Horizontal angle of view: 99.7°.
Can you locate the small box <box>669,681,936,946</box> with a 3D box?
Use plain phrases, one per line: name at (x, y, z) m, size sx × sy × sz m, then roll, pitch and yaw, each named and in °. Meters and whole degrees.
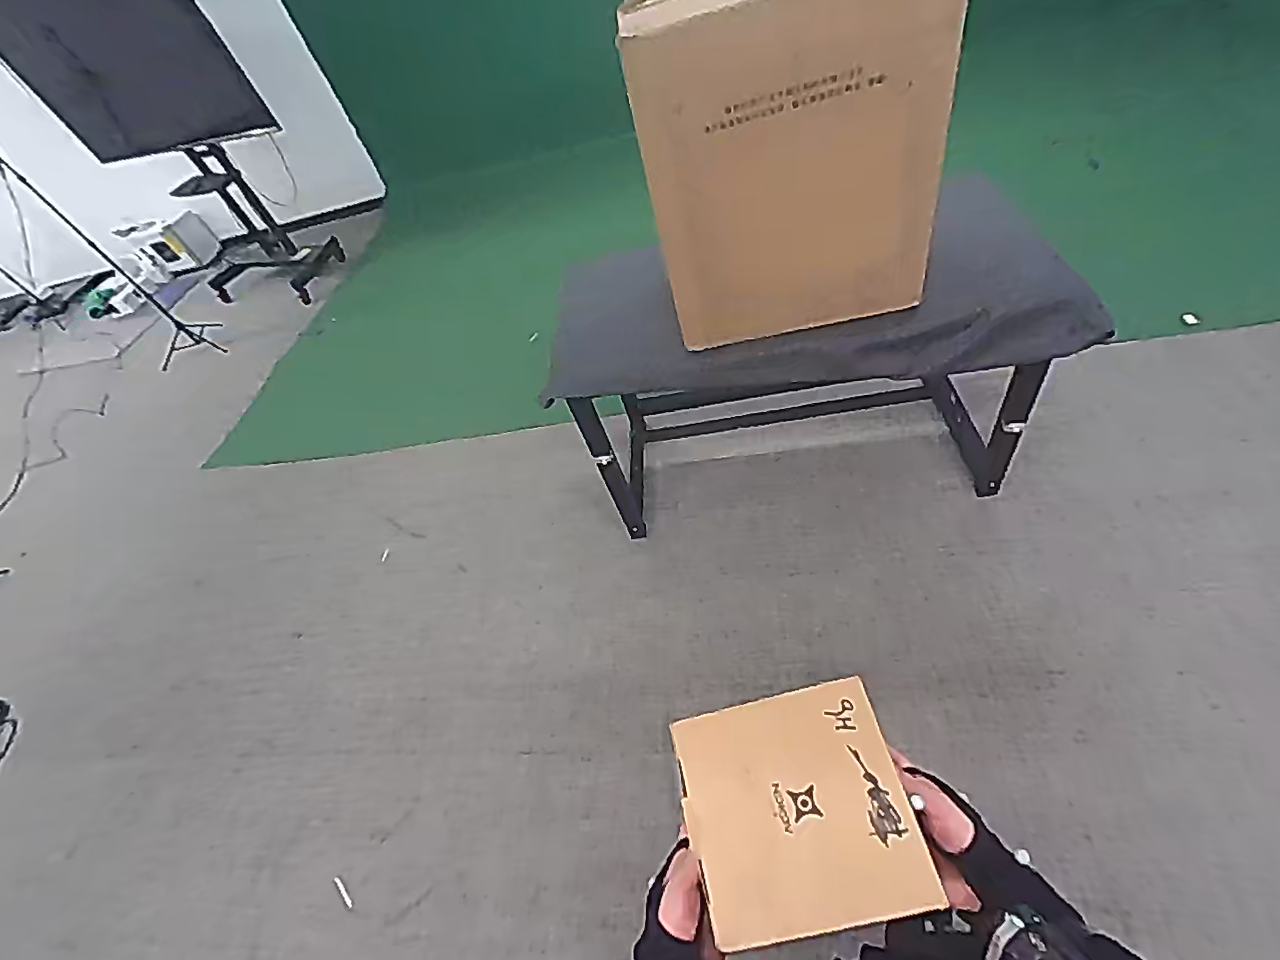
small box at (0.141, 0.304, 0.511) m, size 0.179 × 0.176 × 0.168 m, roll -16°, pitch 59°, yaw 7°
